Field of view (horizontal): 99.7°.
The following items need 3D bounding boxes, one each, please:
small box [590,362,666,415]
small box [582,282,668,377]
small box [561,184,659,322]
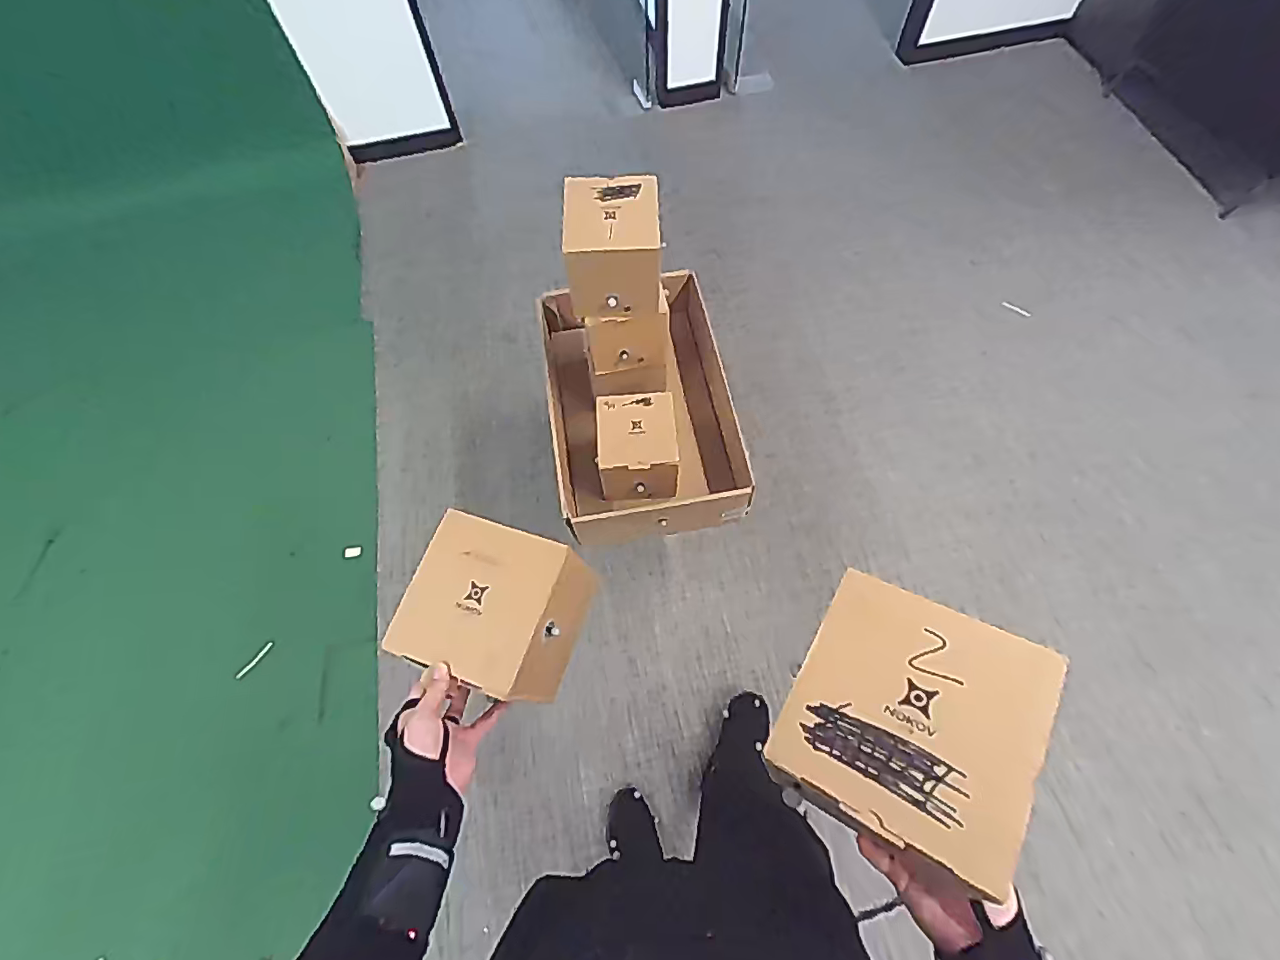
[{"bbox_3d":[-0.036,-0.282,1.304,0.168,0.176,0.179,-11,66,-2],"label":"small box"},{"bbox_3d":[-0.040,-0.347,1.156,0.168,0.176,0.179,-11,66,-3],"label":"small box"},{"bbox_3d":[-0.050,-0.418,1.008,0.168,0.176,0.179,-2,67,1],"label":"small box"}]
